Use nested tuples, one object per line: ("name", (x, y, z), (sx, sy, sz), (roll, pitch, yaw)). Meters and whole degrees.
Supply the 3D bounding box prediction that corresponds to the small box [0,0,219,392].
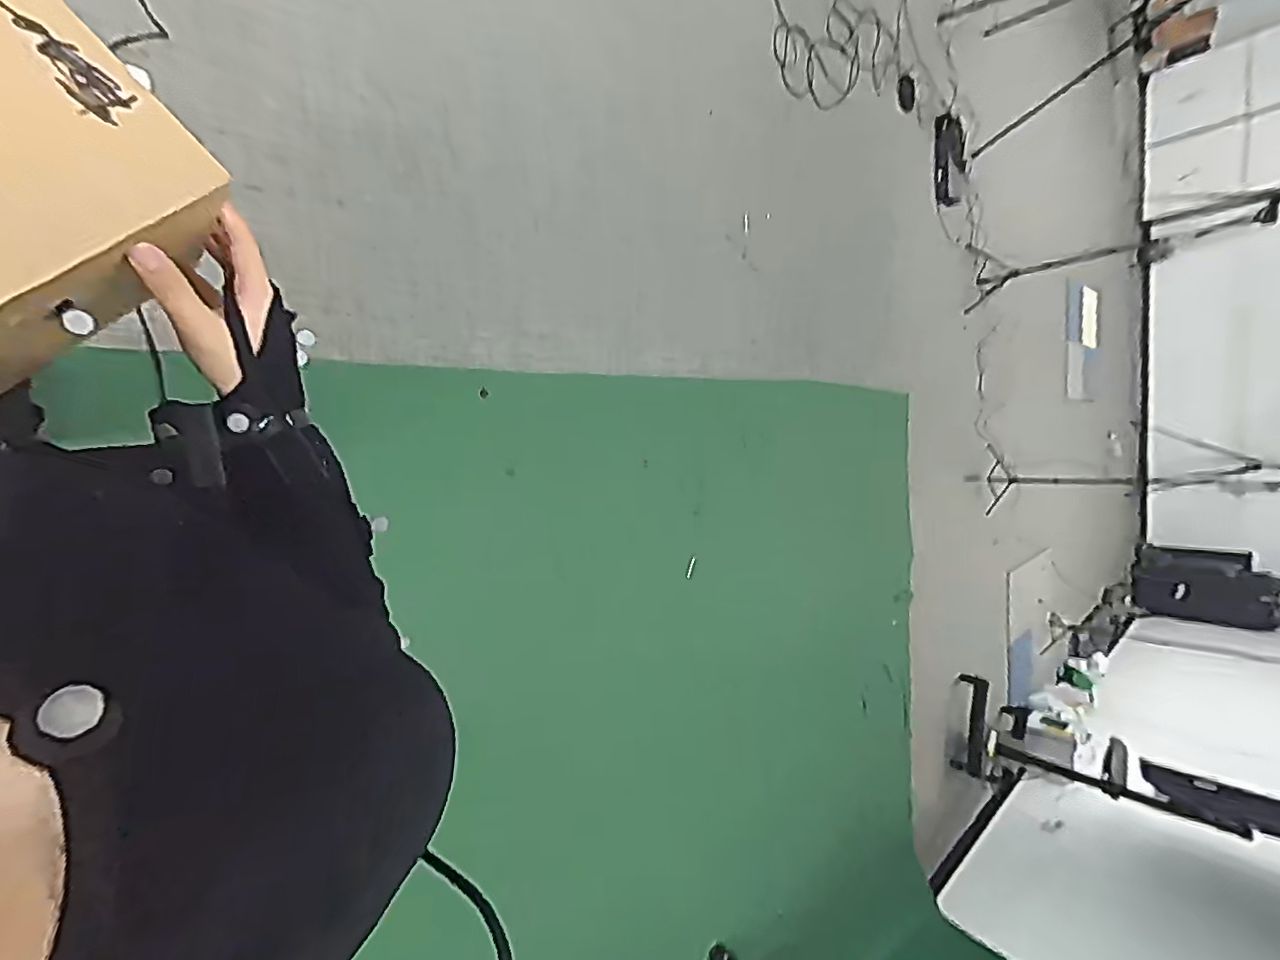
("small box", (-0.380, -0.163, 0.291), (0.168, 0.176, 0.179), (51, 56, -30))
